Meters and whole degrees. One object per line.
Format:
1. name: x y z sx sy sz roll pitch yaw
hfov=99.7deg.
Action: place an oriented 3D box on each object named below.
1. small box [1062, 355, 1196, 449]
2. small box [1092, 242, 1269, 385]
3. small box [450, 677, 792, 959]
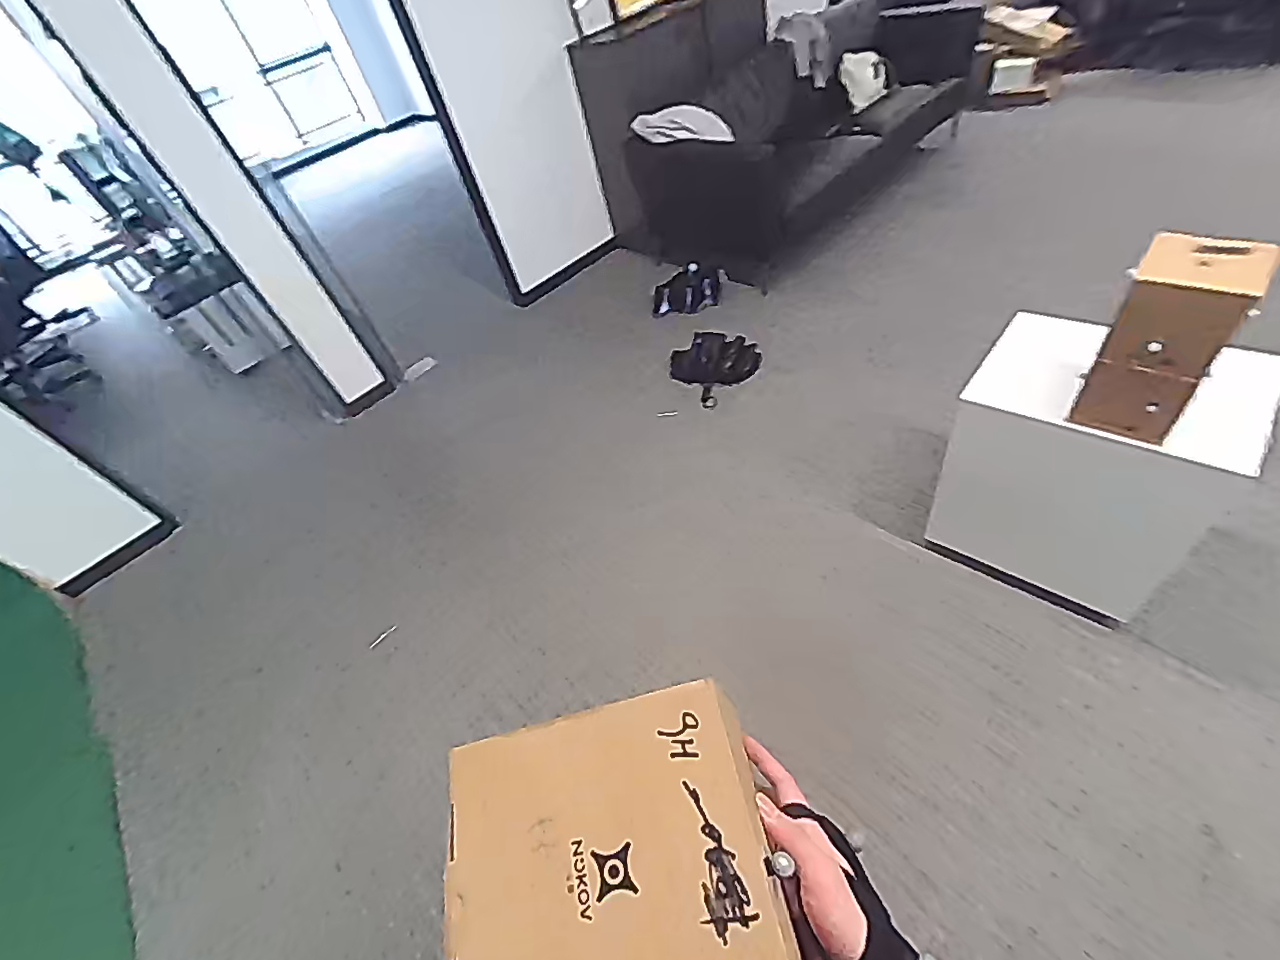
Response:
1. small box: 1.004 -0.192 1.105 0.168 0.176 0.179 27 58 34
2. small box: 0.974 -0.305 0.989 0.168 0.176 0.179 28 60 34
3. small box: -0.006 0.250 0.365 0.179 0.176 0.168 -16 58 6
